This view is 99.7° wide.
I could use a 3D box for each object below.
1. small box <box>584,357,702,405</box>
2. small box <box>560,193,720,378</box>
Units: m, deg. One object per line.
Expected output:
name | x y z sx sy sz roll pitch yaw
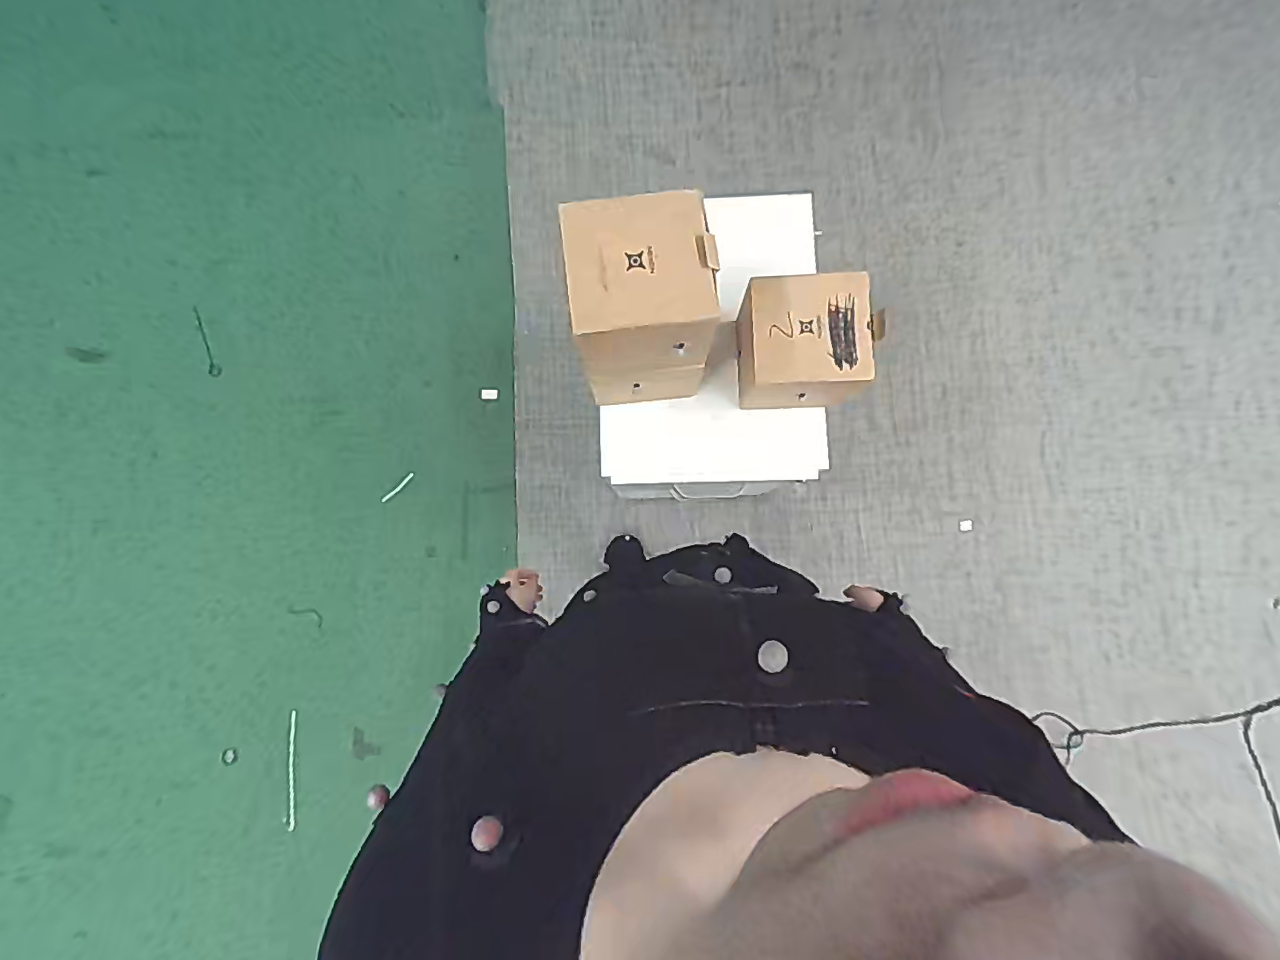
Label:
small box | 0.000 -0.226 0.878 0.179 0.176 0.168 -6 84 0
small box | -0.001 -0.245 0.716 0.179 0.176 0.168 -7 83 0
